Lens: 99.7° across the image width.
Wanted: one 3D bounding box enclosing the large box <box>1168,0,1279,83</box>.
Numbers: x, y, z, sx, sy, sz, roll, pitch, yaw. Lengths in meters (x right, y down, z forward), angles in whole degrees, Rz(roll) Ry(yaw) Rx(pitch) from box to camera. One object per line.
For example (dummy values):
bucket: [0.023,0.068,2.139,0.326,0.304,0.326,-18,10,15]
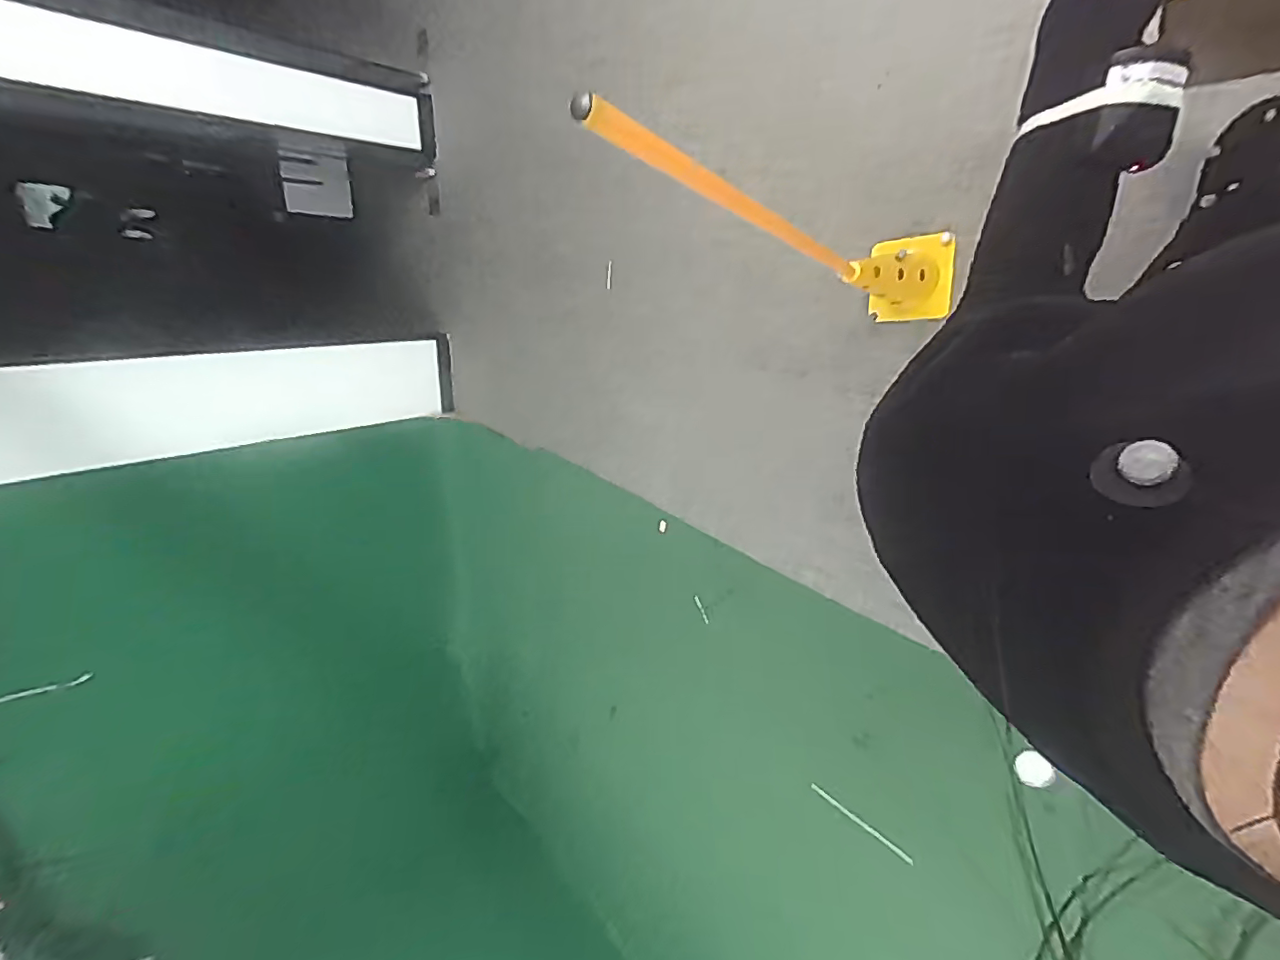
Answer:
large box: [0.589,-0.460,0.275,0.408,0.320,0.320,17,117,40]
